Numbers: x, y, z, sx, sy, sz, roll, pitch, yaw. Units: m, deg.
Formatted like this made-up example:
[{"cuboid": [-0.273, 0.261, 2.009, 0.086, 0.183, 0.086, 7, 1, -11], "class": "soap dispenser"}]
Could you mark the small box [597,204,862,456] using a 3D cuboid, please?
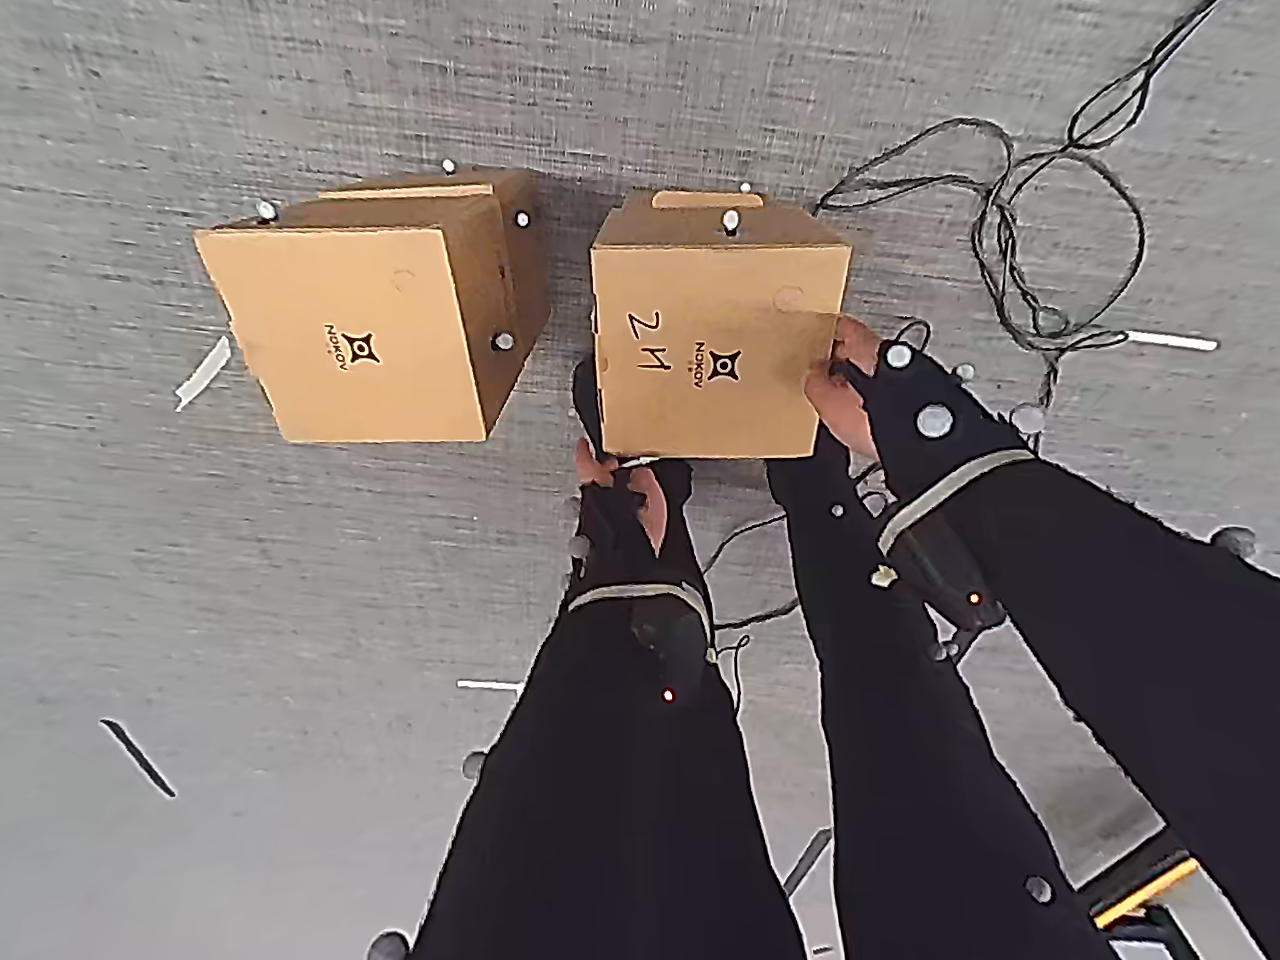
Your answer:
[{"cuboid": [0.061, -0.134, 0.460, 0.179, 0.176, 0.168, 1, 124, 3], "class": "small box"}]

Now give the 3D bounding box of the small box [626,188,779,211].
[{"cuboid": [0.065, -0.218, 0.603, 0.168, 0.176, 0.179, 3, 125, 1], "class": "small box"}]

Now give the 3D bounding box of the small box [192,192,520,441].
[{"cuboid": [-0.209, -0.146, 0.466, 0.179, 0.176, 0.168, 0, 124, 3], "class": "small box"}]
